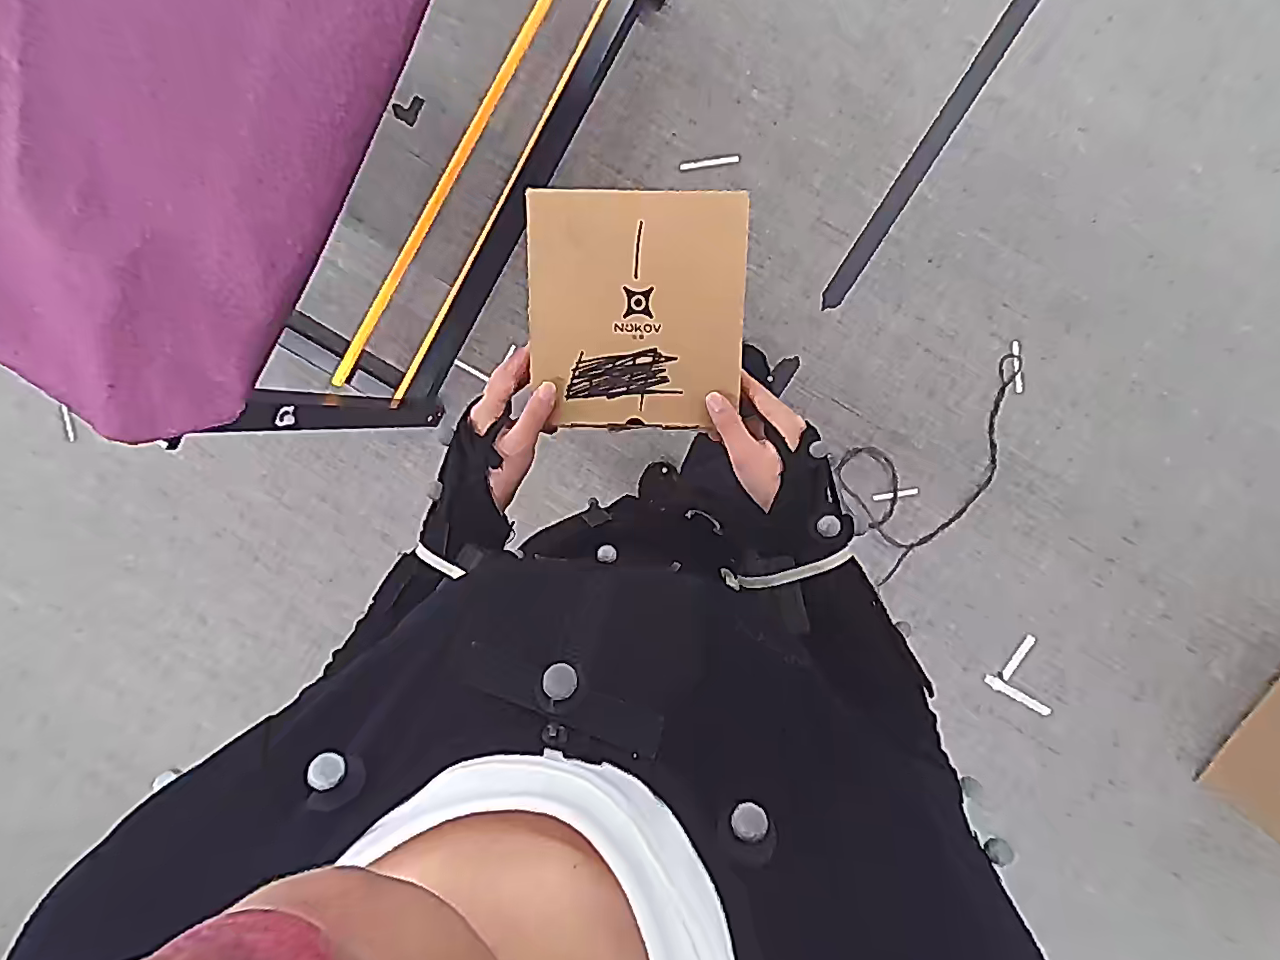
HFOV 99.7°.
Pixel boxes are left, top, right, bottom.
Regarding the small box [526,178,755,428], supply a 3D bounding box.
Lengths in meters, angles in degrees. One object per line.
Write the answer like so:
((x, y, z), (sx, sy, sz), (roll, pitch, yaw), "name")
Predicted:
((-0.001, -0.144, 0.477), (0.168, 0.176, 0.179), (1, 101, 0), "small box")
